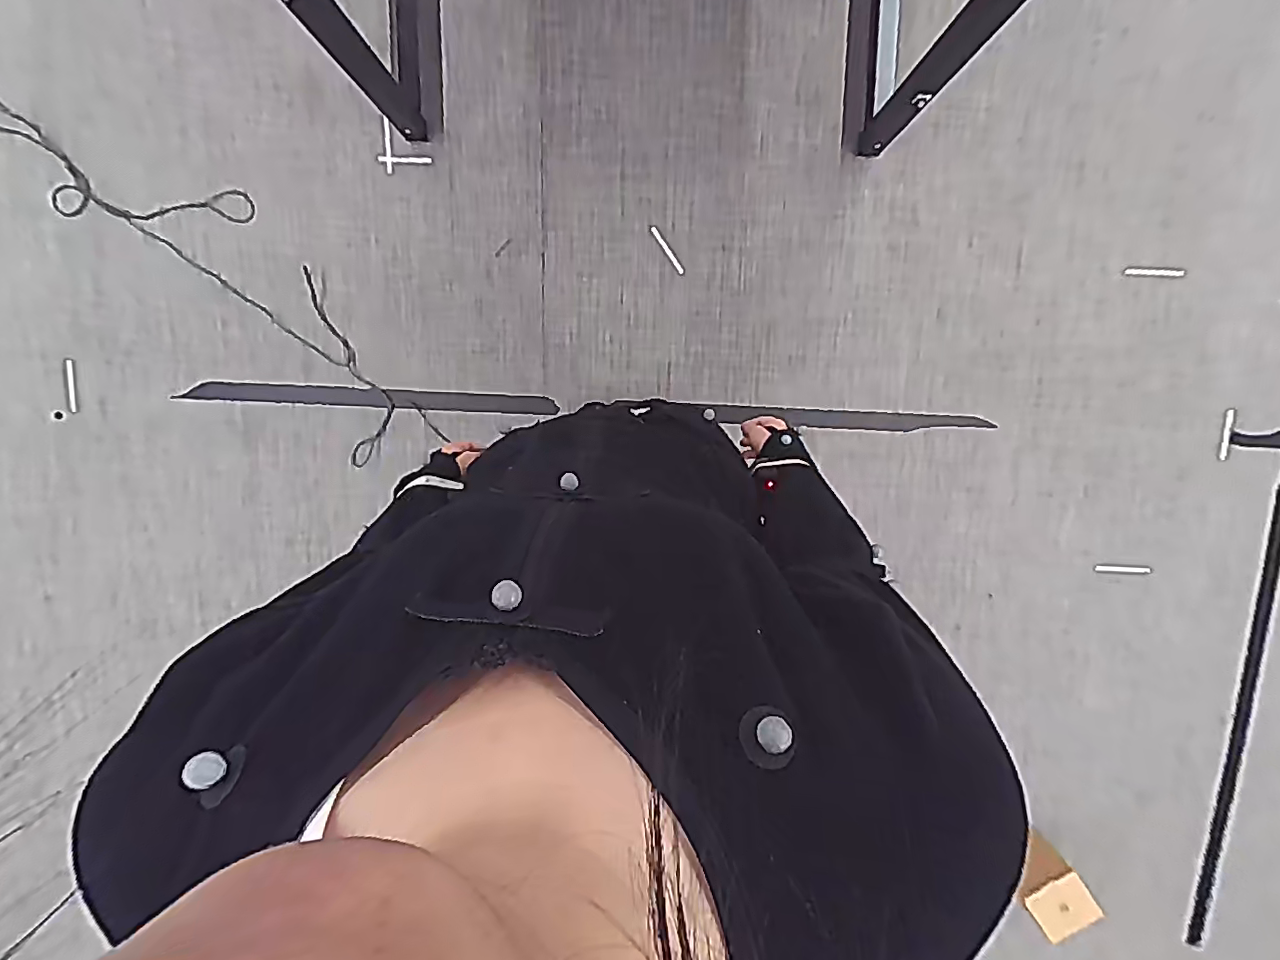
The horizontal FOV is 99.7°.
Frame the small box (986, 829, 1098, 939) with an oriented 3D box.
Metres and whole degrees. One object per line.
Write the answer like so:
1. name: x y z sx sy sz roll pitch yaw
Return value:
1. small box: 1.170 1.172 1.589 0.168 0.176 0.179 -35 98 6
